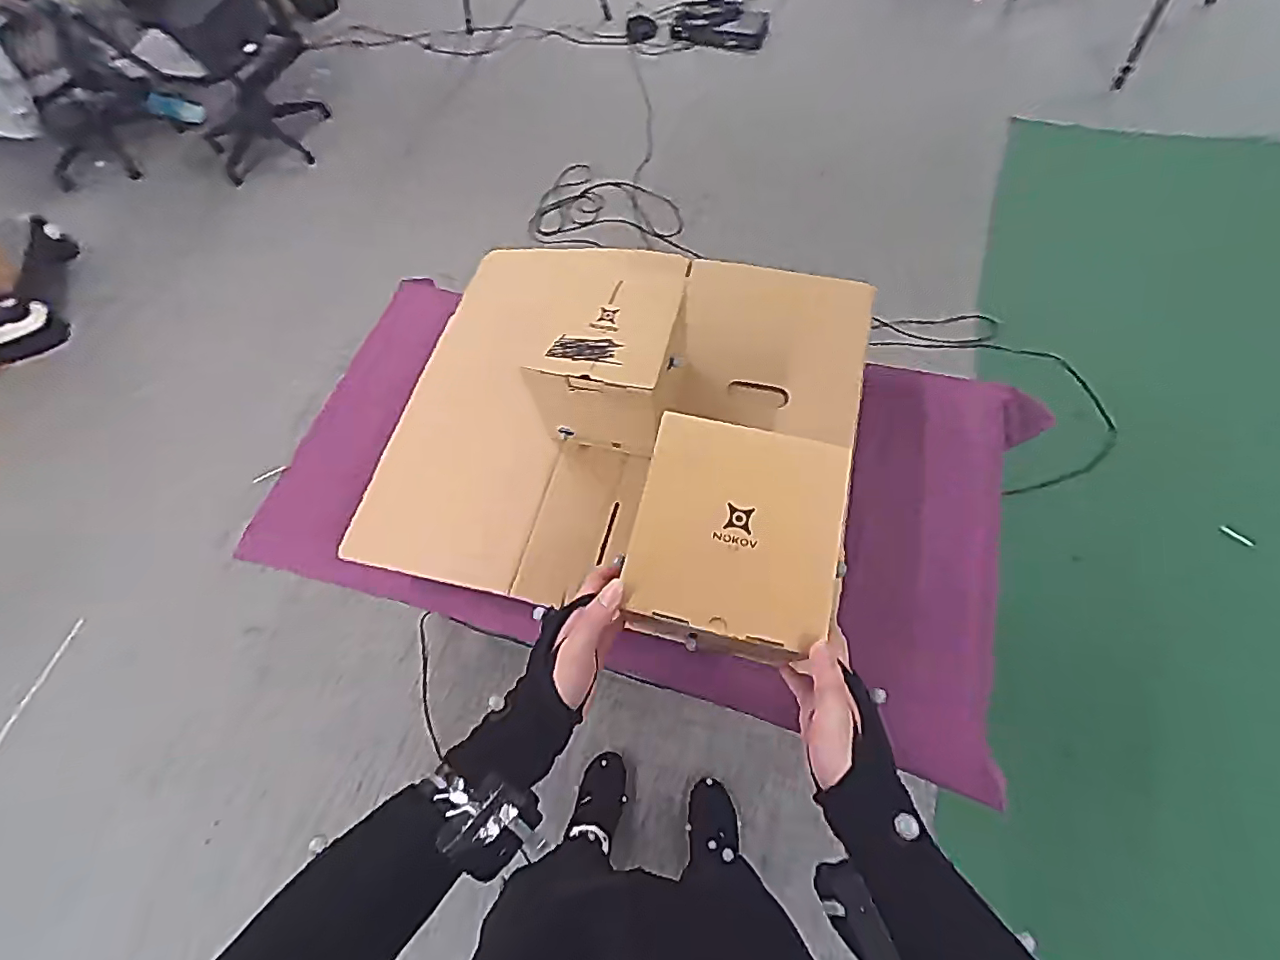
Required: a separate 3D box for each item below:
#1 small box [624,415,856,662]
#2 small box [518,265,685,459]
[{"bbox_3d":[0.087,0.065,0.515,0.168,0.176,0.179,12,72,7],"label":"small box"},{"bbox_3d":[-0.037,-0.148,0.715,0.168,0.176,0.179,12,65,9],"label":"small box"}]
